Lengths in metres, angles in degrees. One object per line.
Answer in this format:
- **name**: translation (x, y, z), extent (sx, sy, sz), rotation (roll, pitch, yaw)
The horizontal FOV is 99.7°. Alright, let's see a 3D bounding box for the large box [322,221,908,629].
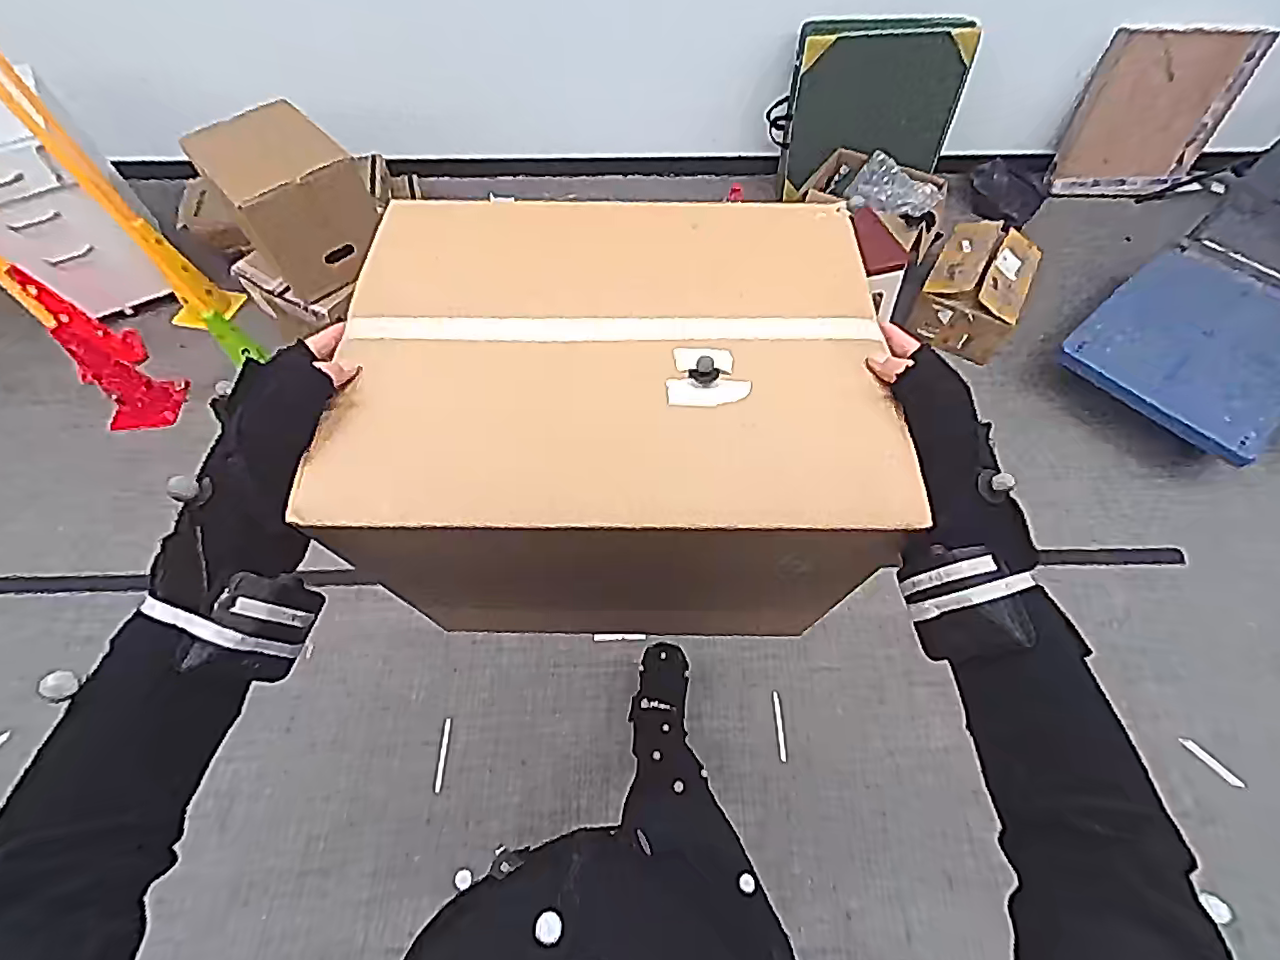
- **large box**: translation (-0.019, -0.036, 0.562), extent (0.408, 0.320, 0.320), rotation (1, 62, 0)
